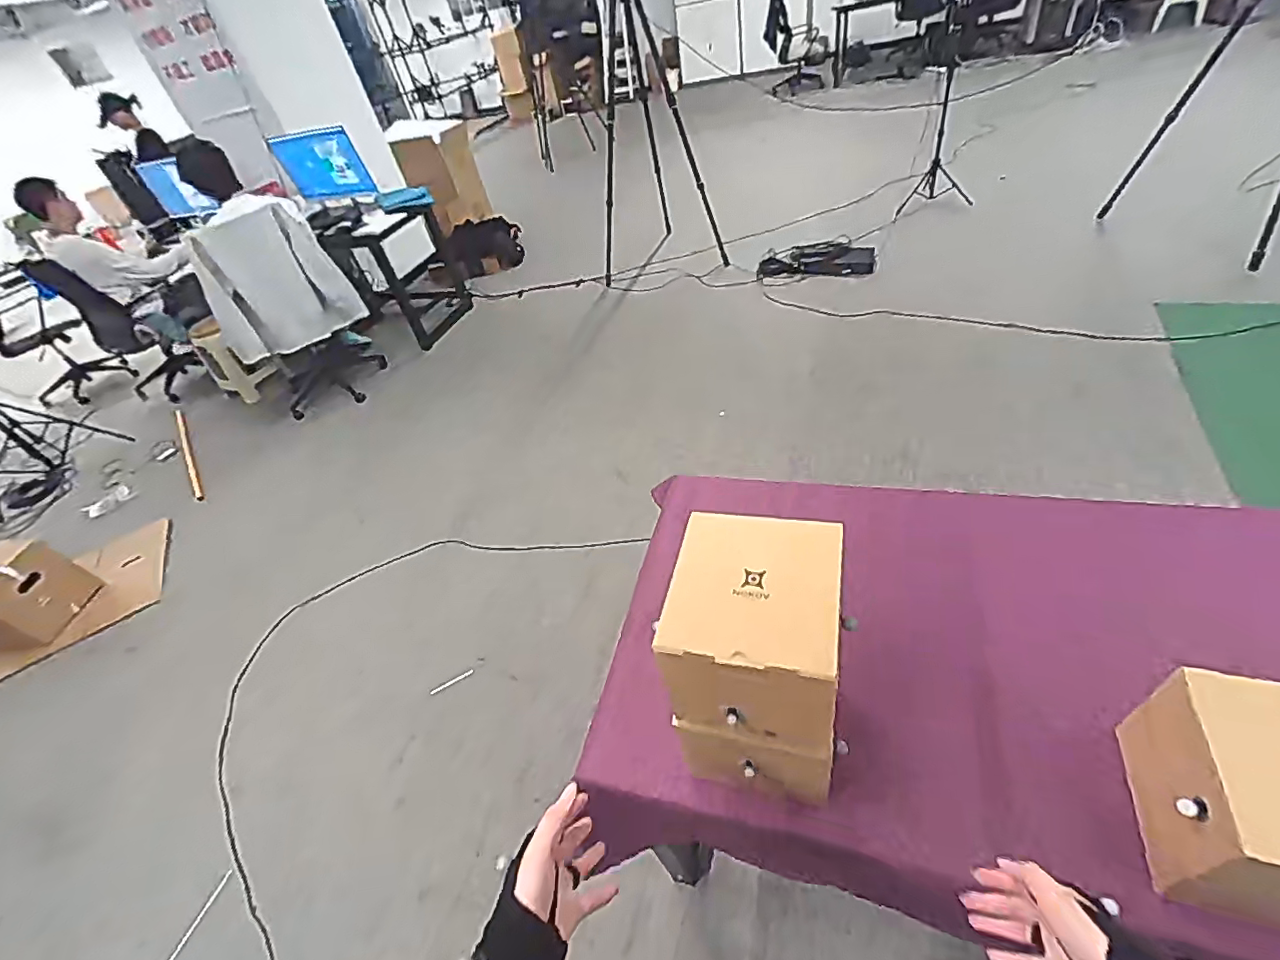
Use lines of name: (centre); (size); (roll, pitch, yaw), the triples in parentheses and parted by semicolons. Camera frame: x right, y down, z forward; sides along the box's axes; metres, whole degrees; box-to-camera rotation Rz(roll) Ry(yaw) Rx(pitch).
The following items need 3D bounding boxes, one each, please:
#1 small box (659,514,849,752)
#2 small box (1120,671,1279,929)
small box: (0.131, 0.162, 0.590); (0.168, 0.176, 0.179); (4, 46, 20)
small box: (0.618, 0.322, 0.527); (0.168, 0.176, 0.179); (7, 47, 21)
